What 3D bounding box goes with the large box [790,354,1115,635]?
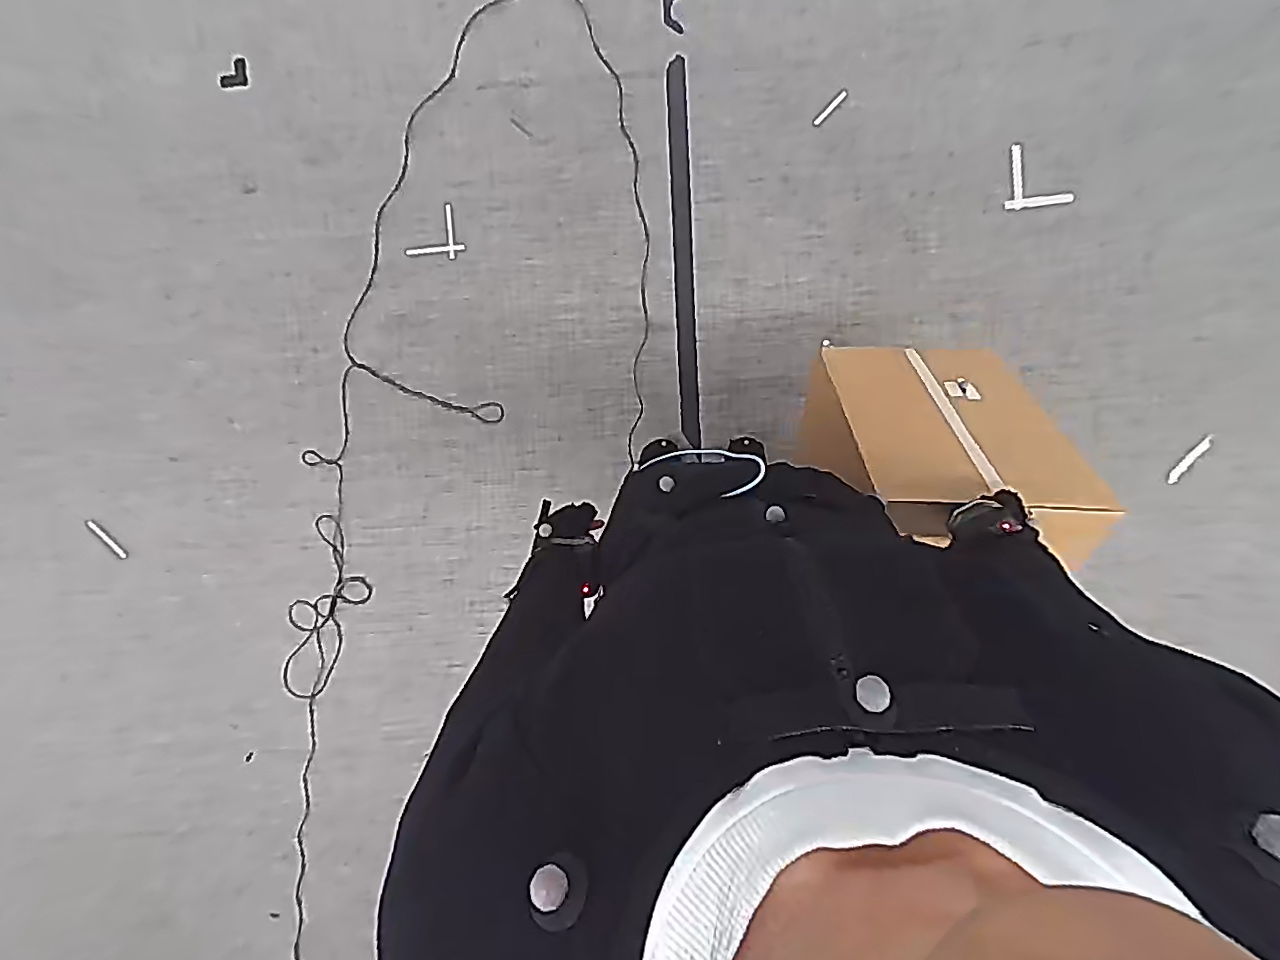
[{"bbox_3d":[0.474,0.017,0.949,0.320,0.408,0.320,3,131,1],"label":"large box"}]
